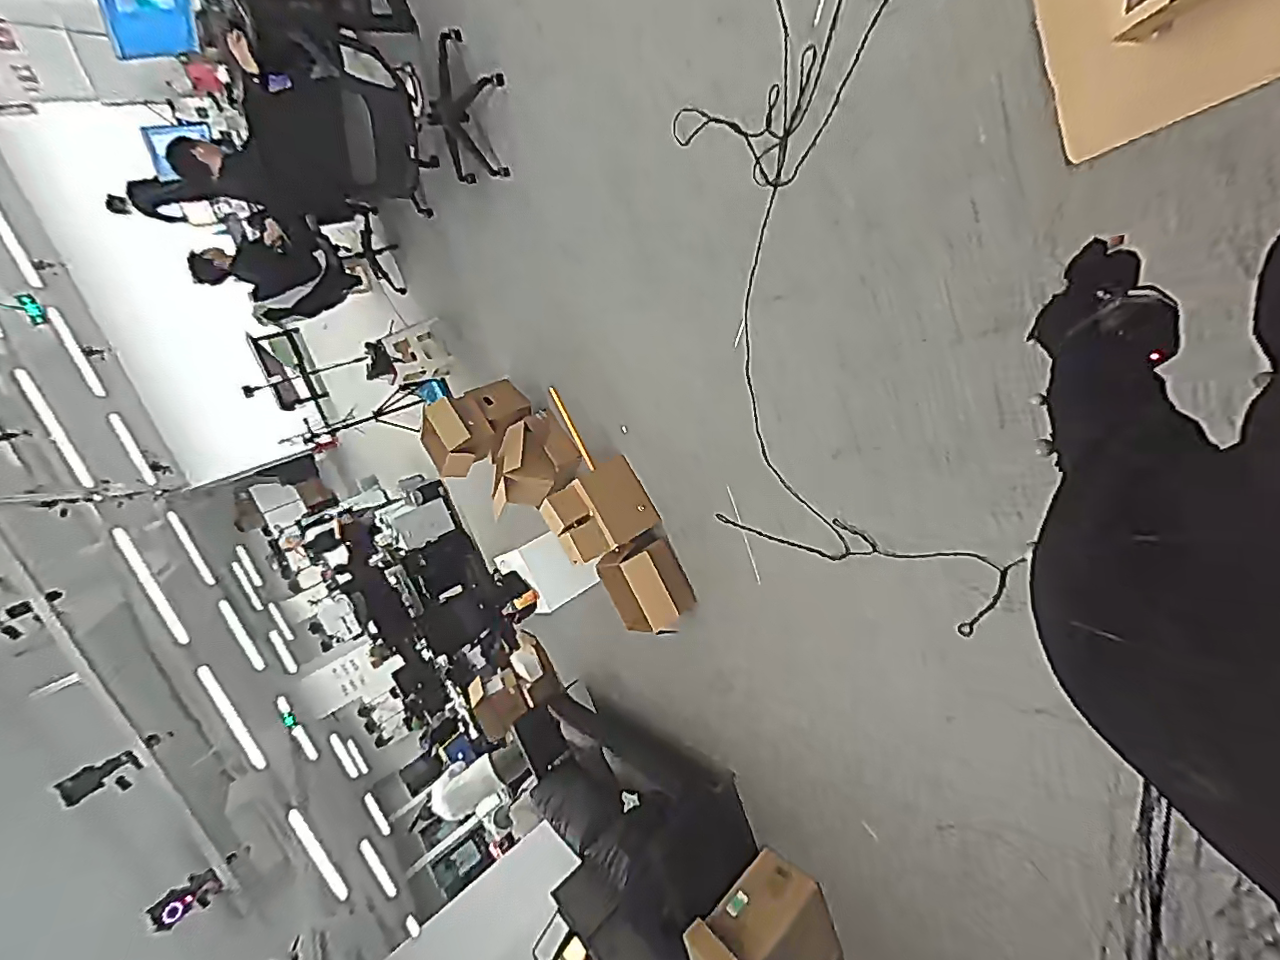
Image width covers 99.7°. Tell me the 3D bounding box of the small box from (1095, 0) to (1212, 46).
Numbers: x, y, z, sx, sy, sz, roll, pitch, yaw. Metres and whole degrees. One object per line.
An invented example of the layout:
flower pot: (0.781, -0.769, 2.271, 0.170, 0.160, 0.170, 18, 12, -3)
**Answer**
small box: (0.842, -0.832, 0.850, 0.168, 0.176, 0.179, -8, 107, 57)
